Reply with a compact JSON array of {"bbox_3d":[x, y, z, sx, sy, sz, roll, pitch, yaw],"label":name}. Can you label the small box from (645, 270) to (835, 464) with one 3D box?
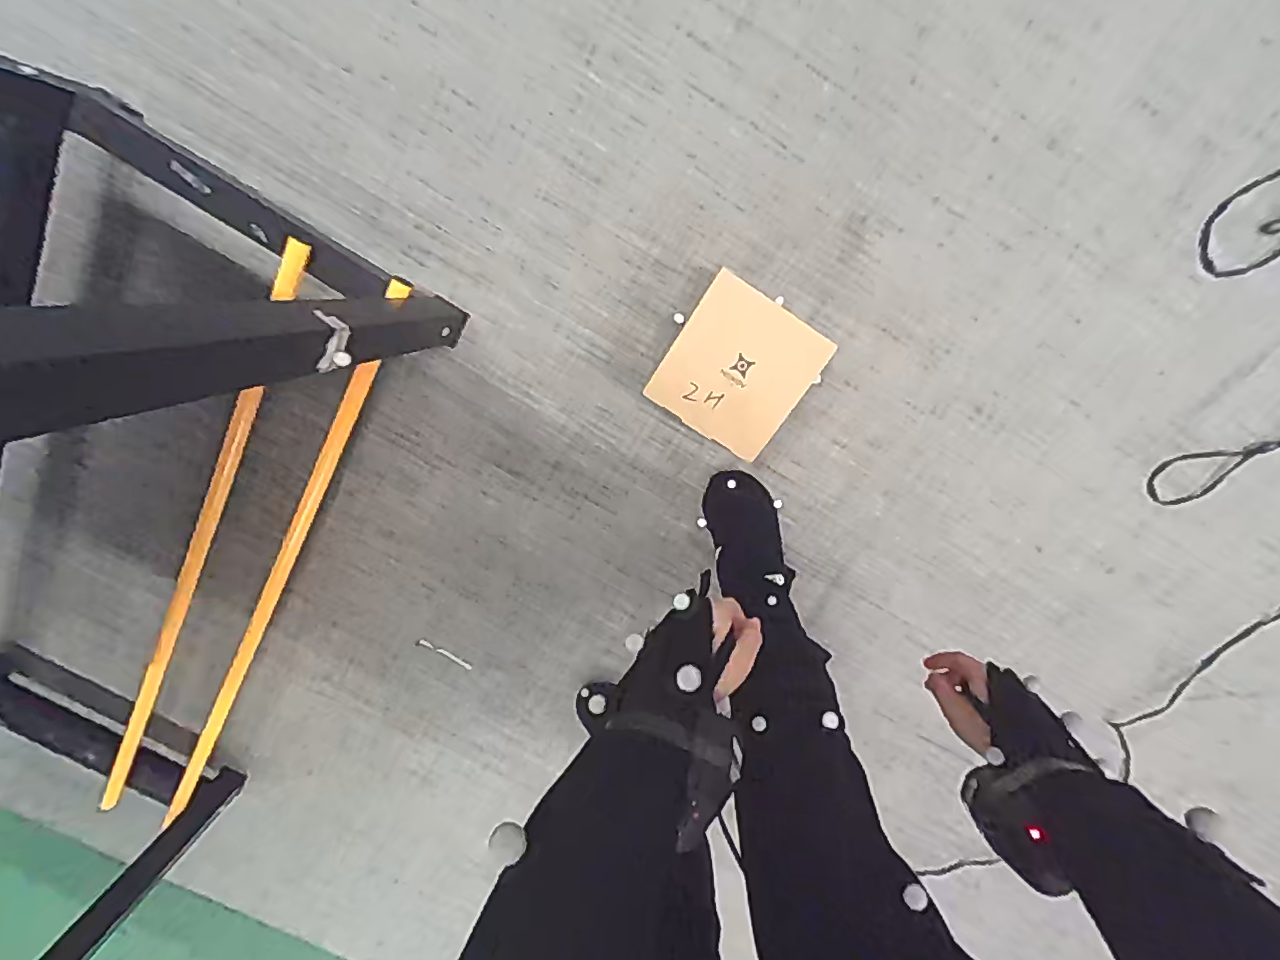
[{"bbox_3d":[0.122,-0.155,0.724,0.168,0.176,0.179,33,108,-5],"label":"small box"}]
